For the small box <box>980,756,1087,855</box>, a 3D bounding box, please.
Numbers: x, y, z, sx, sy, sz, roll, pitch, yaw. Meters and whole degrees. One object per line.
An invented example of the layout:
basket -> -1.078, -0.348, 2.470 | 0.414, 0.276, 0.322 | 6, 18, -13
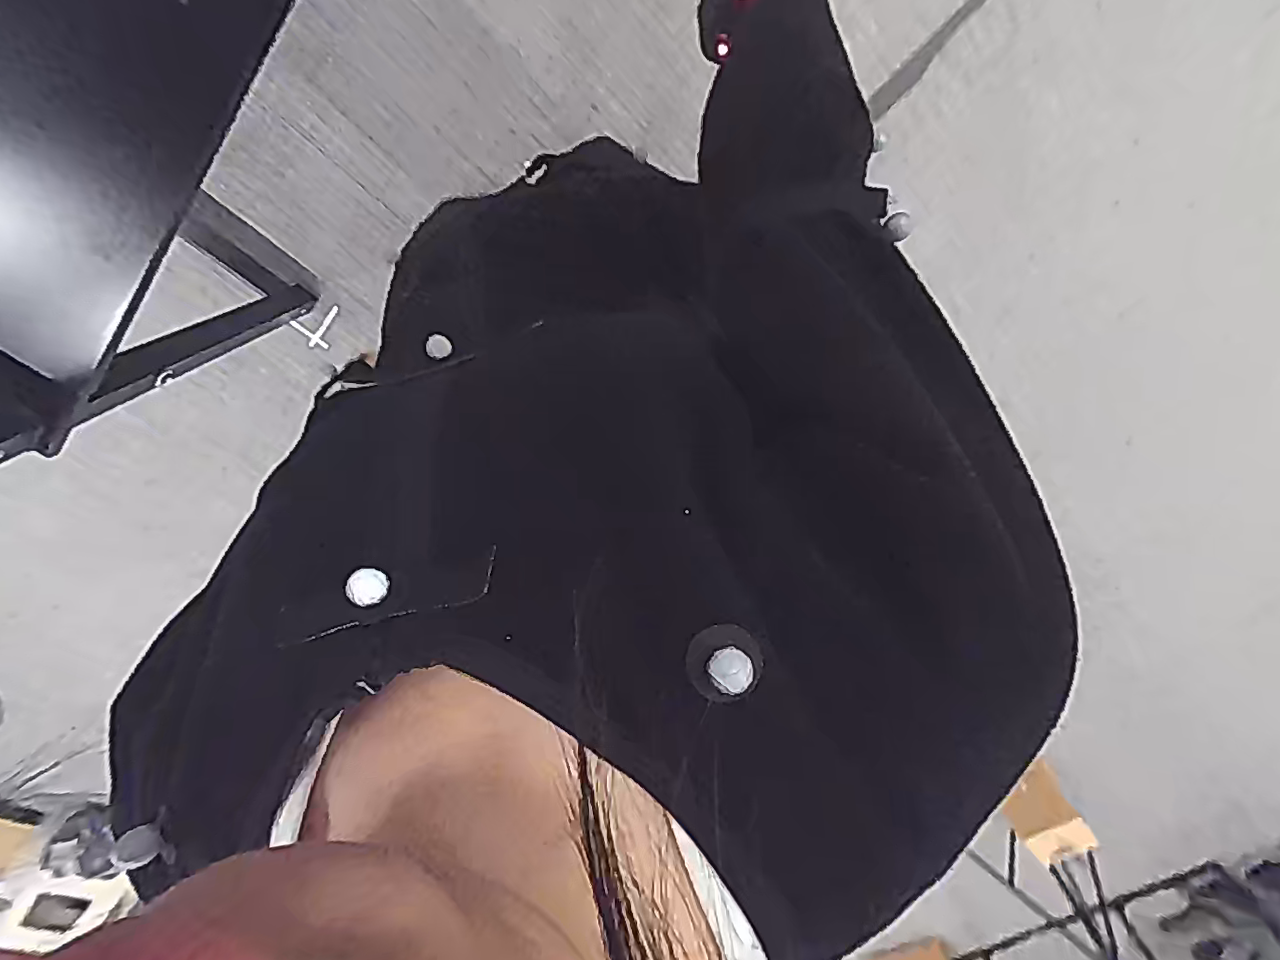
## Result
small box -> 1.154, 0.956, 1.595 | 0.168, 0.176, 0.179 | -36, 114, 15

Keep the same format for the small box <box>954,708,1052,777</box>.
small box -> 1.158, 0.870, 1.735 | 0.179, 0.176, 0.168 | -35, 115, 16
